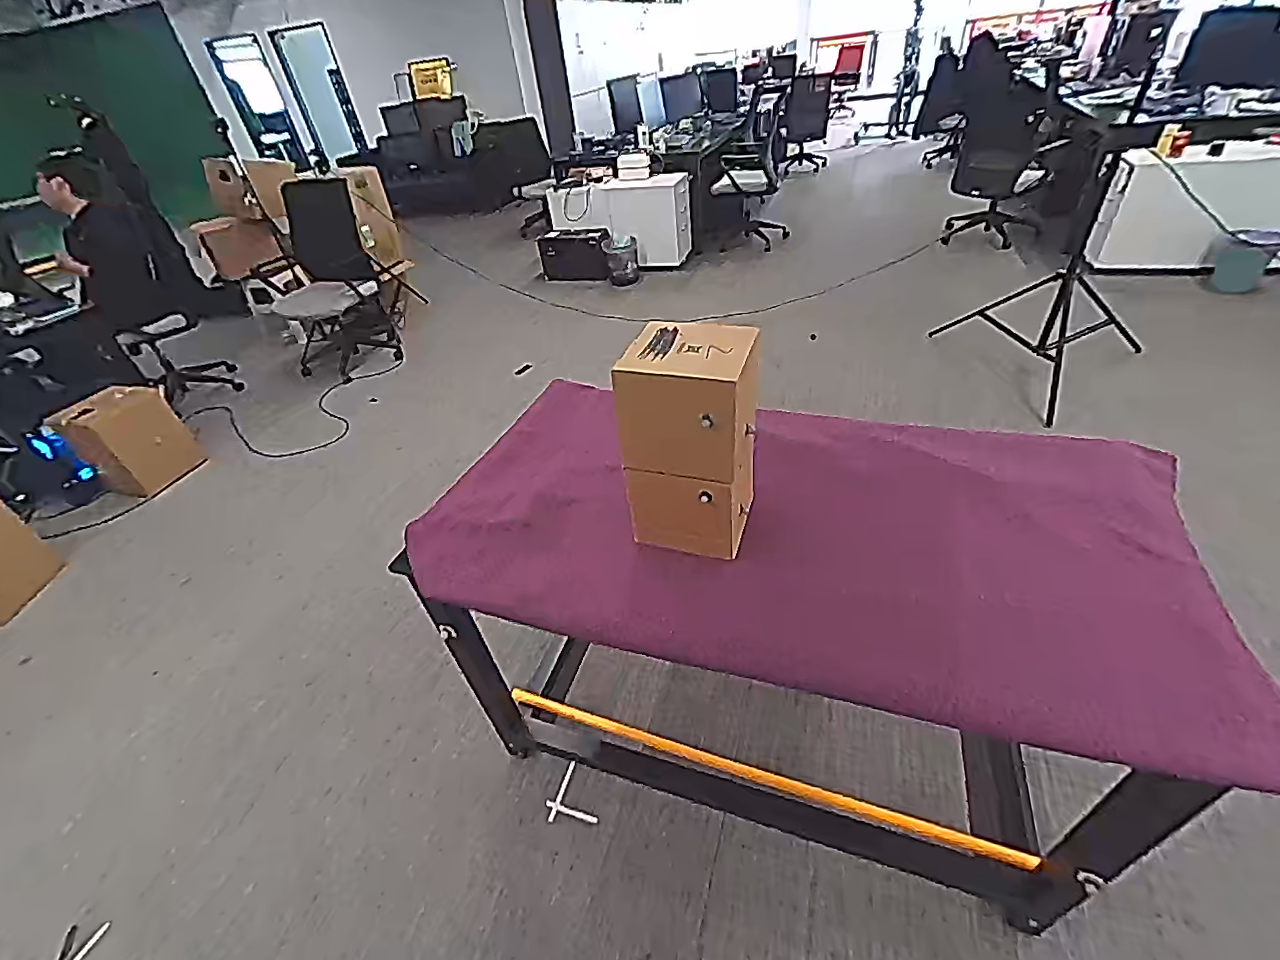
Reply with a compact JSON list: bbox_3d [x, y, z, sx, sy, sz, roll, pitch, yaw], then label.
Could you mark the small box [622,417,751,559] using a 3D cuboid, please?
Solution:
[{"bbox_3d":[0.086,0.013,0.921,0.179,0.176,0.168,9,41,19],"label":"small box"}]
